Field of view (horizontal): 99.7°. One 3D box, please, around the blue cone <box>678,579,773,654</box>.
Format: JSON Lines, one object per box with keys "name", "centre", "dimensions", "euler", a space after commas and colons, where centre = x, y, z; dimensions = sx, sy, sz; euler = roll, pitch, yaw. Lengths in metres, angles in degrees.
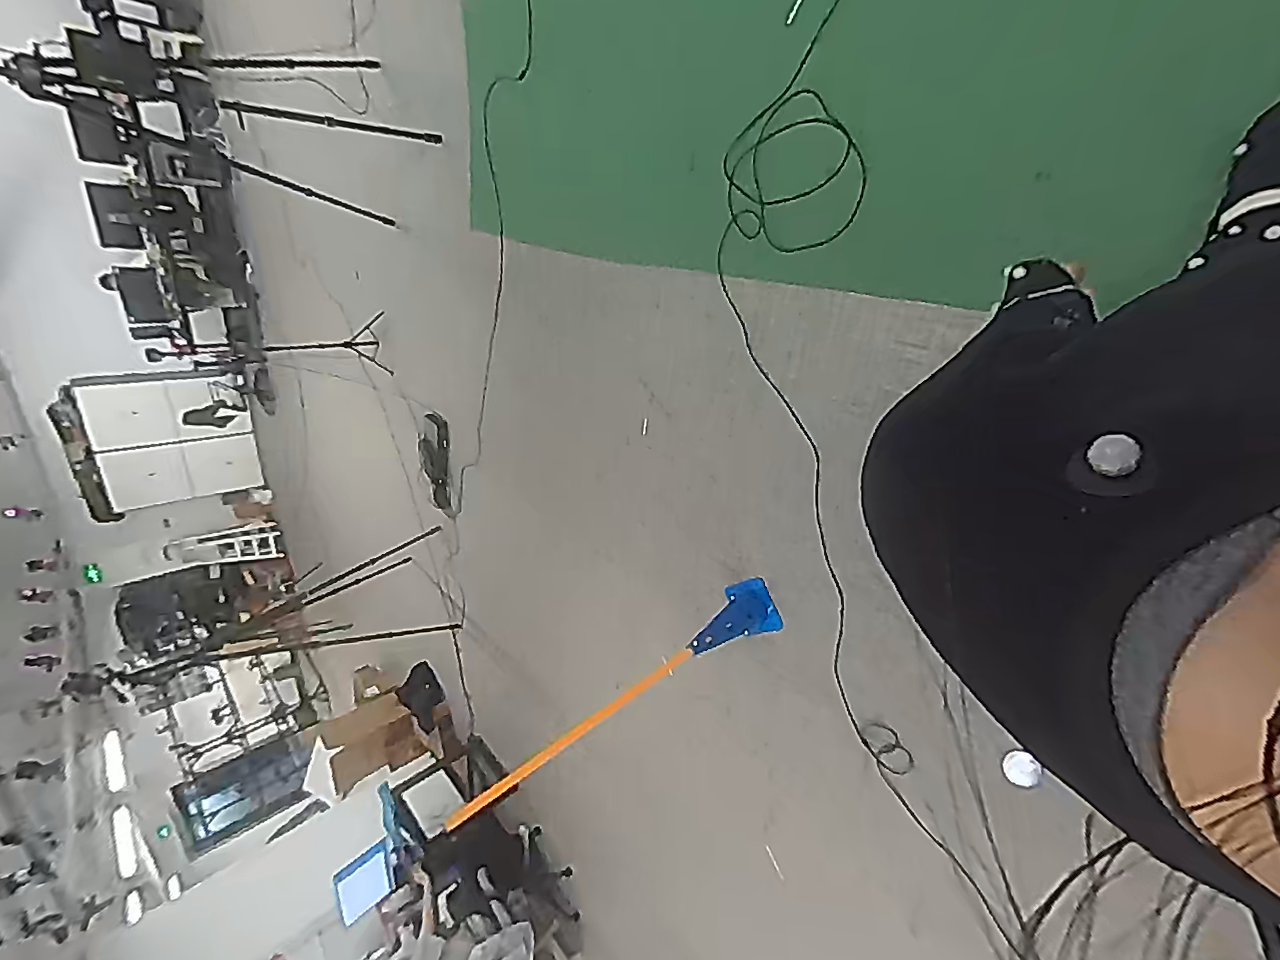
{"name": "blue cone", "centre": [0.274, 0.512, 1.880], "dimensions": [0.193, 0.380, 0.192], "euler": [-34, 79, 49]}
